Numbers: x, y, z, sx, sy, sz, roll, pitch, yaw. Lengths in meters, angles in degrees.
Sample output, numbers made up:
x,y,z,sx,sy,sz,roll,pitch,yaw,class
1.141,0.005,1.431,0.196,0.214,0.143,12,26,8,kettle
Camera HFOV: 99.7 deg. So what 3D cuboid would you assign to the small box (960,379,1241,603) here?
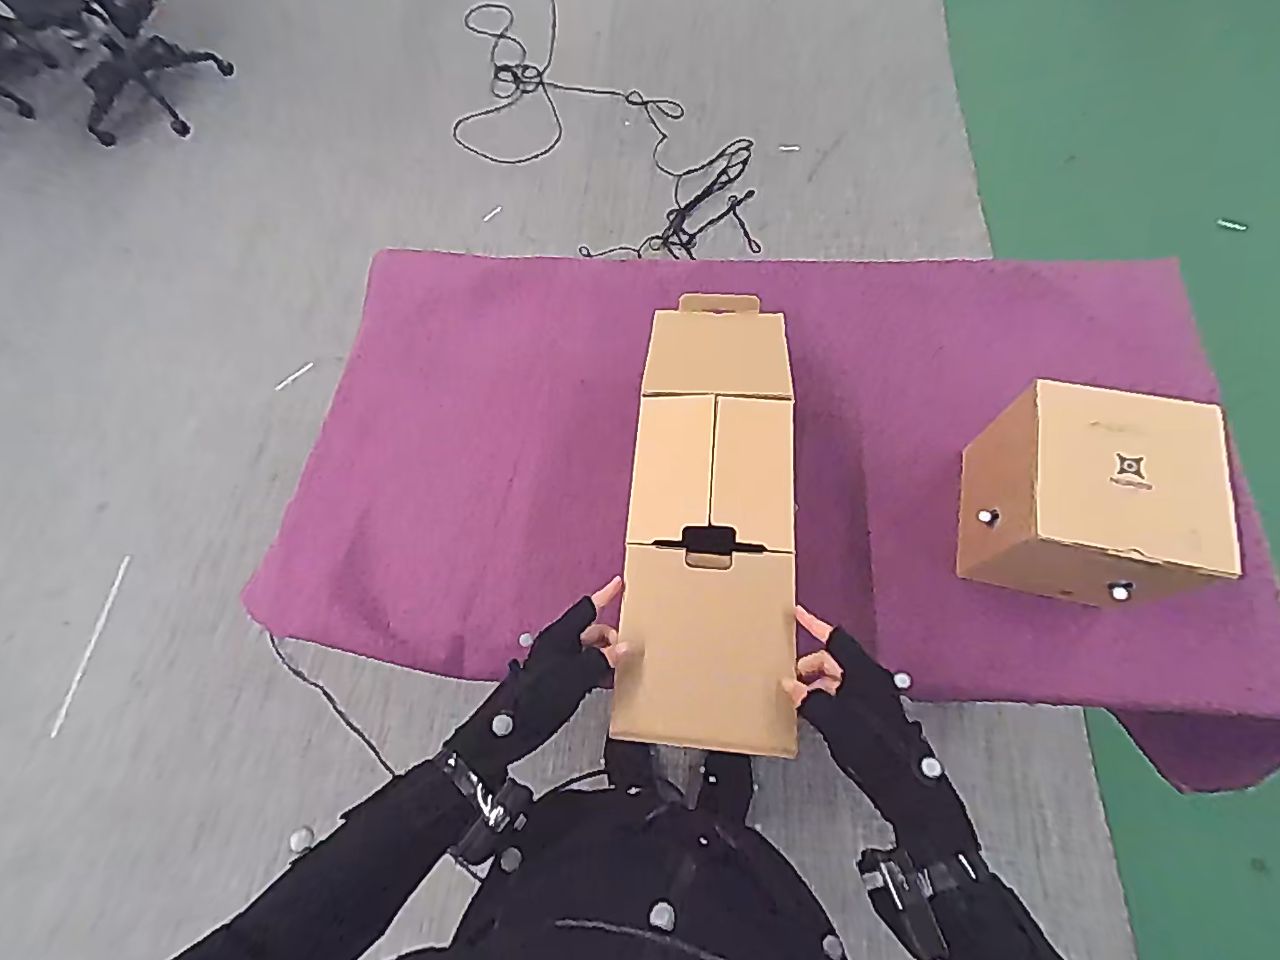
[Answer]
x,y,z,sx,sy,sz,roll,pitch,yaw,class
0.468,0.021,0.581,0.168,0.176,0.179,12,69,11,small box
